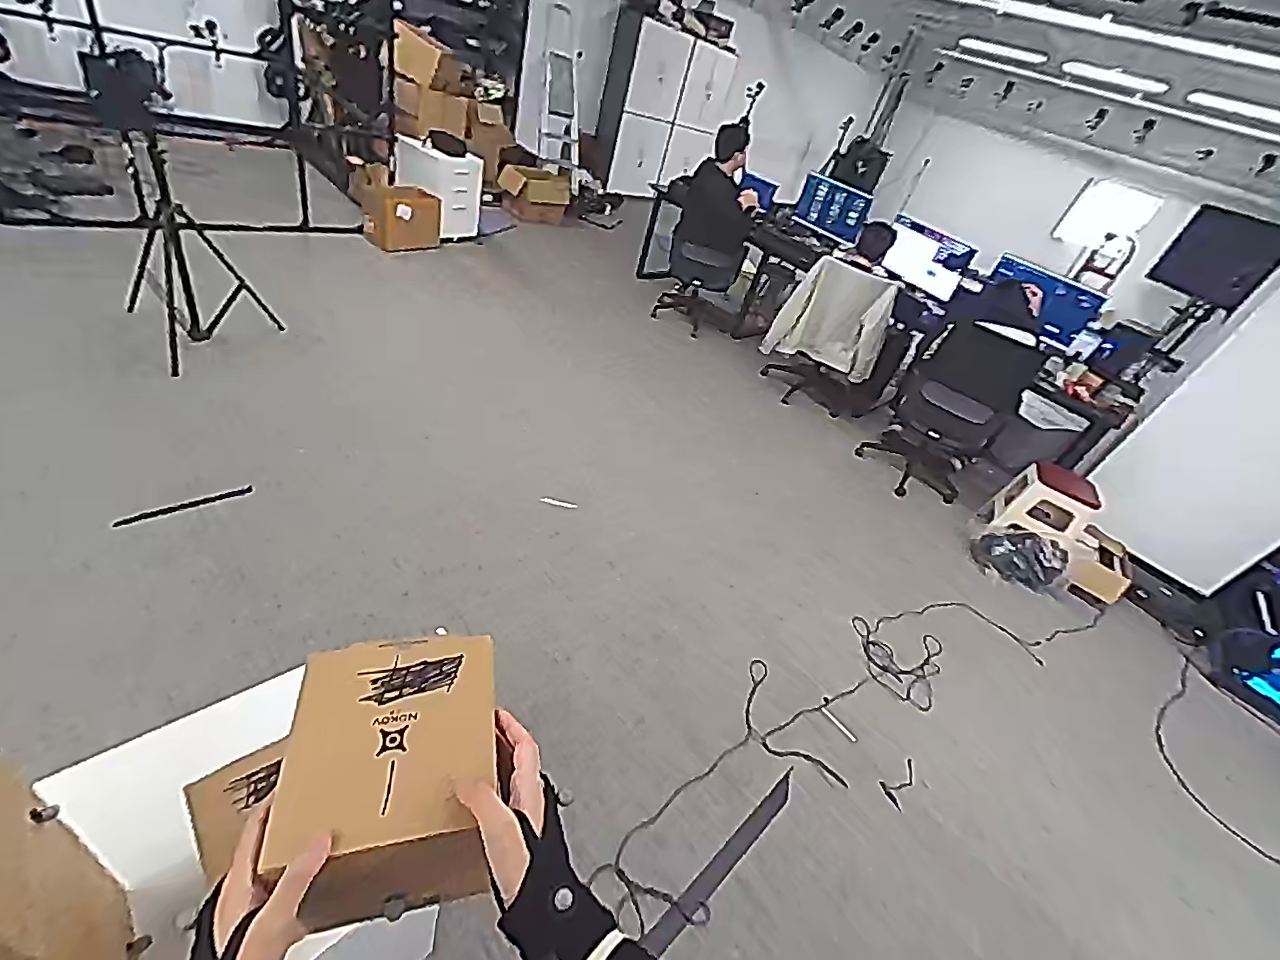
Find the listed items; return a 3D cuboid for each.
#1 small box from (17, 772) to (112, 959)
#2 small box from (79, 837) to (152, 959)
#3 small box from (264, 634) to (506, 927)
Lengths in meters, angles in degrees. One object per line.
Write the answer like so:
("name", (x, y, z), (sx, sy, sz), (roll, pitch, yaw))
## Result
("small box", (-0.551, 0.379, 0.418), (0.168, 0.176, 0.179), (-21, 52, -41))
("small box", (-0.595, 0.502, 0.514), (0.168, 0.176, 0.179), (-21, 51, -40))
("small box", (-0.214, 0.273, 0.507), (0.168, 0.176, 0.179), (-3, 40, -16))
